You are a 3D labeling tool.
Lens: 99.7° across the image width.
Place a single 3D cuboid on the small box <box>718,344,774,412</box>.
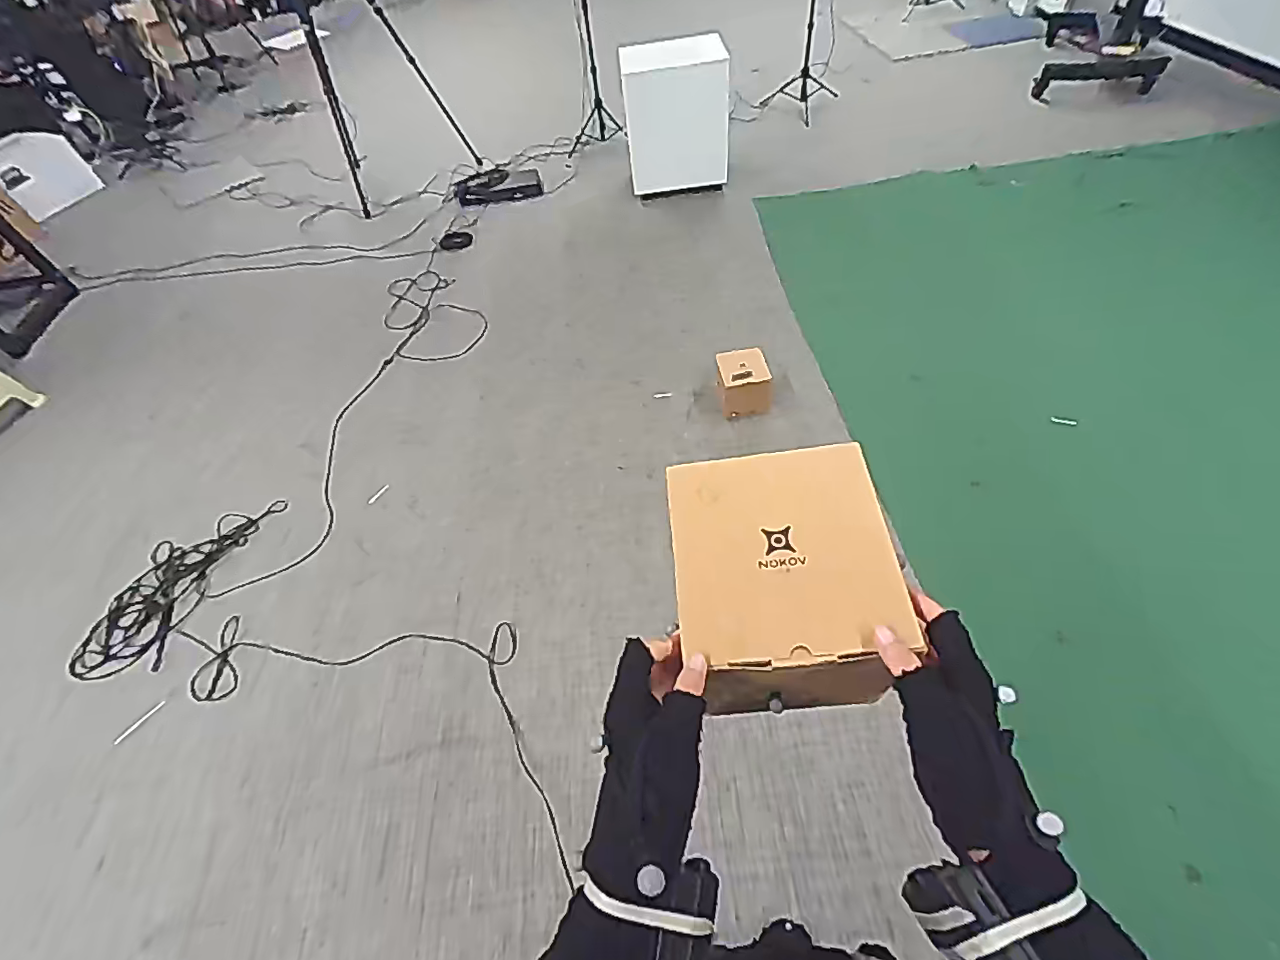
[{"bbox_3d":[0.378,-0.360,1.951,0.168,0.176,0.179,-9,53,1],"label":"small box"}]
